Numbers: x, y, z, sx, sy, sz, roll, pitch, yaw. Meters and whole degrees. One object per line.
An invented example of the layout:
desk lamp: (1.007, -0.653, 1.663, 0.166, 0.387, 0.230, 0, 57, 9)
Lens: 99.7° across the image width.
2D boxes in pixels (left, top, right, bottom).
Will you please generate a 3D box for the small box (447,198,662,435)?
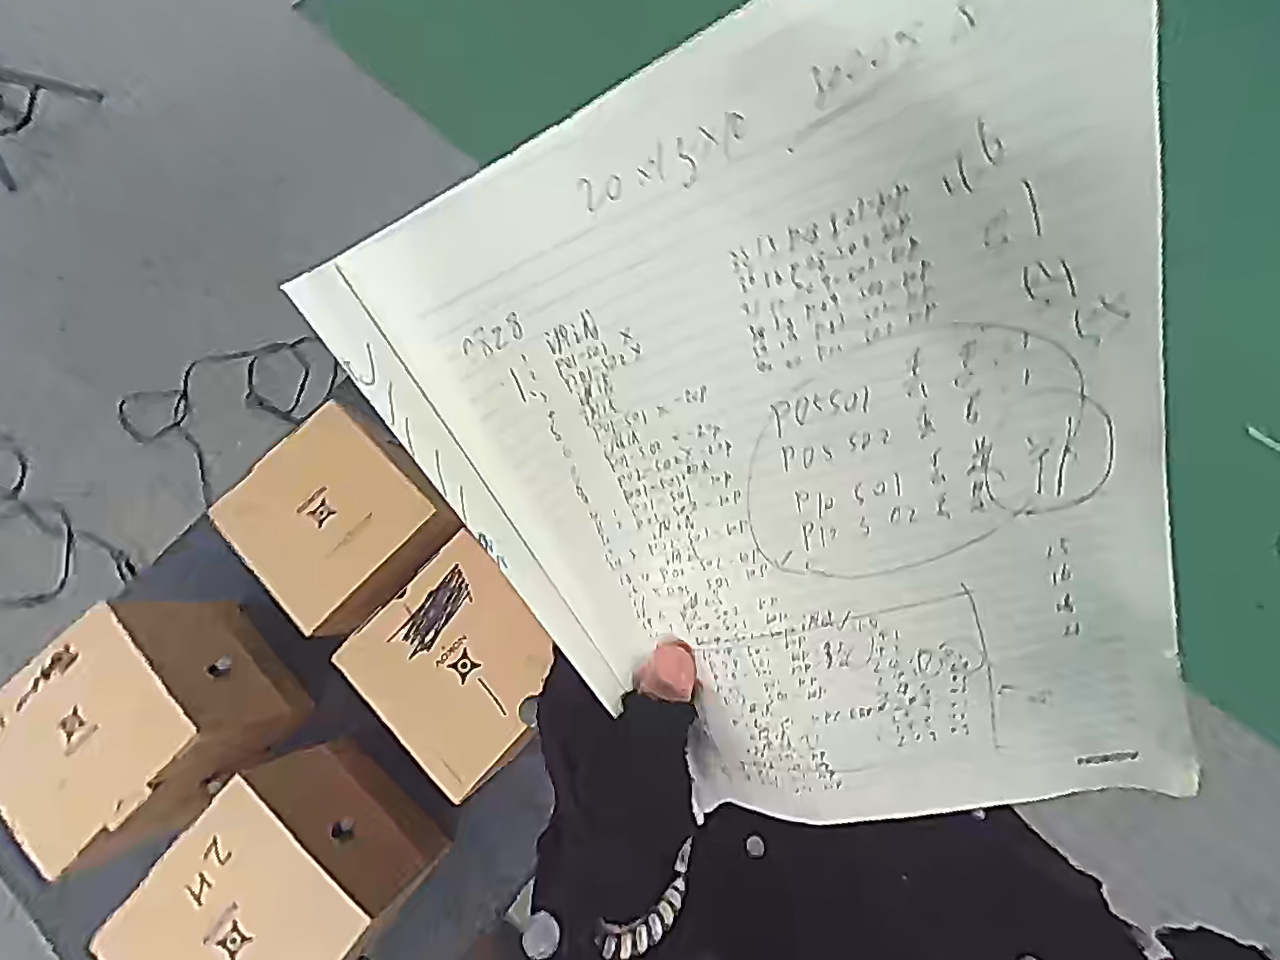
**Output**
small box: (-0.090, -0.186, 0.657, 0.168, 0.176, 0.179, 40, 82, 12)
